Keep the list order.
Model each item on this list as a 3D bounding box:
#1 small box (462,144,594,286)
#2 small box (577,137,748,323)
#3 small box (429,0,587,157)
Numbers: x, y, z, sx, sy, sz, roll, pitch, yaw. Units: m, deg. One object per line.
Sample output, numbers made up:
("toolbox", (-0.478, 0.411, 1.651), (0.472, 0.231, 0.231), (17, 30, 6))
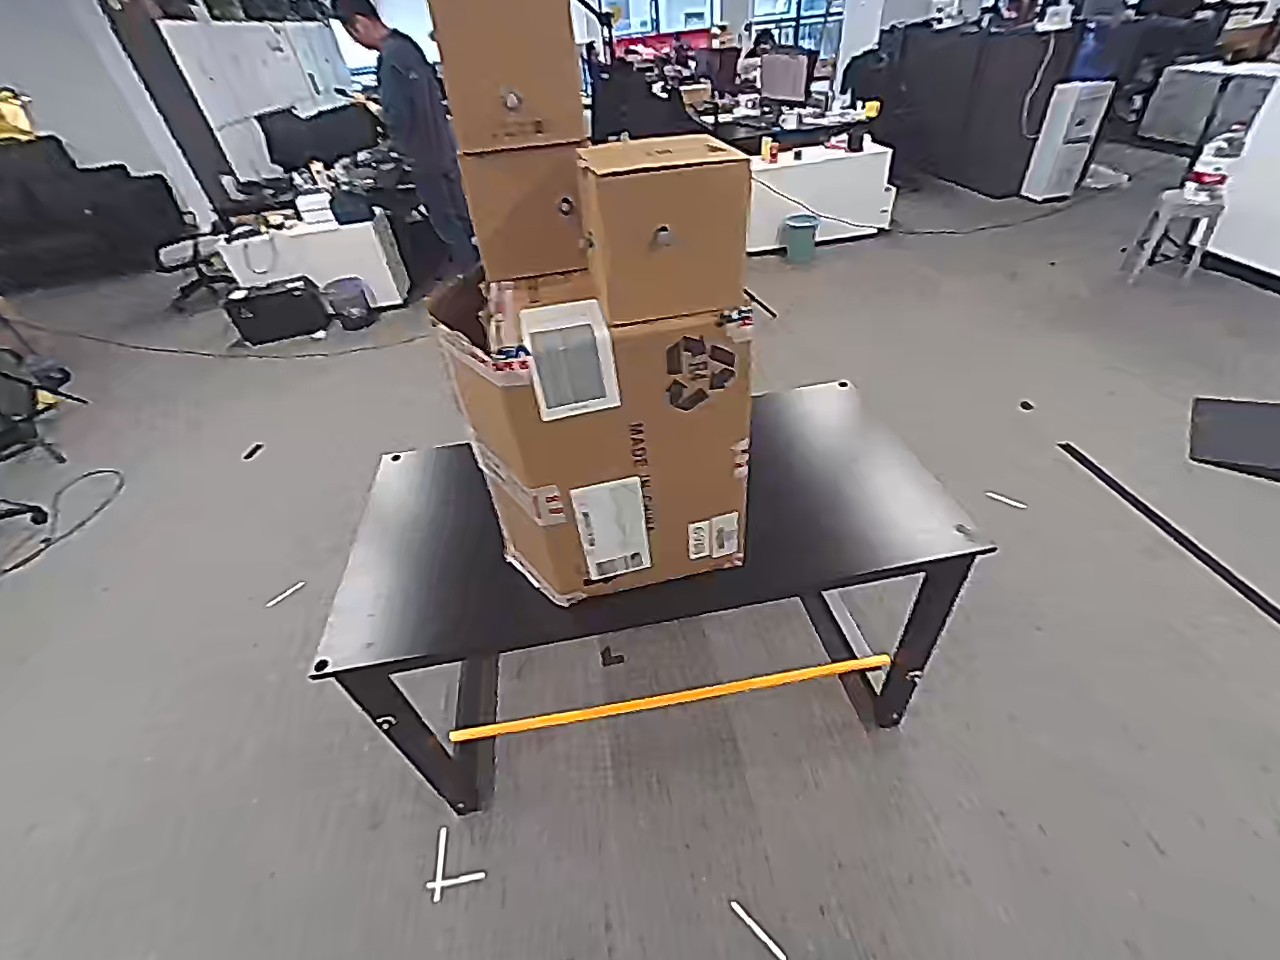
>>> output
("small box", (-0.159, -0.415, 0.830), (0.179, 0.176, 0.168), (-12, 37, -6))
("small box", (0.027, -0.316, 0.689), (0.179, 0.176, 0.168), (-12, 43, -6))
("small box", (-0.169, -0.542, 0.725), (0.168, 0.176, 0.179), (-11, 38, -6))
